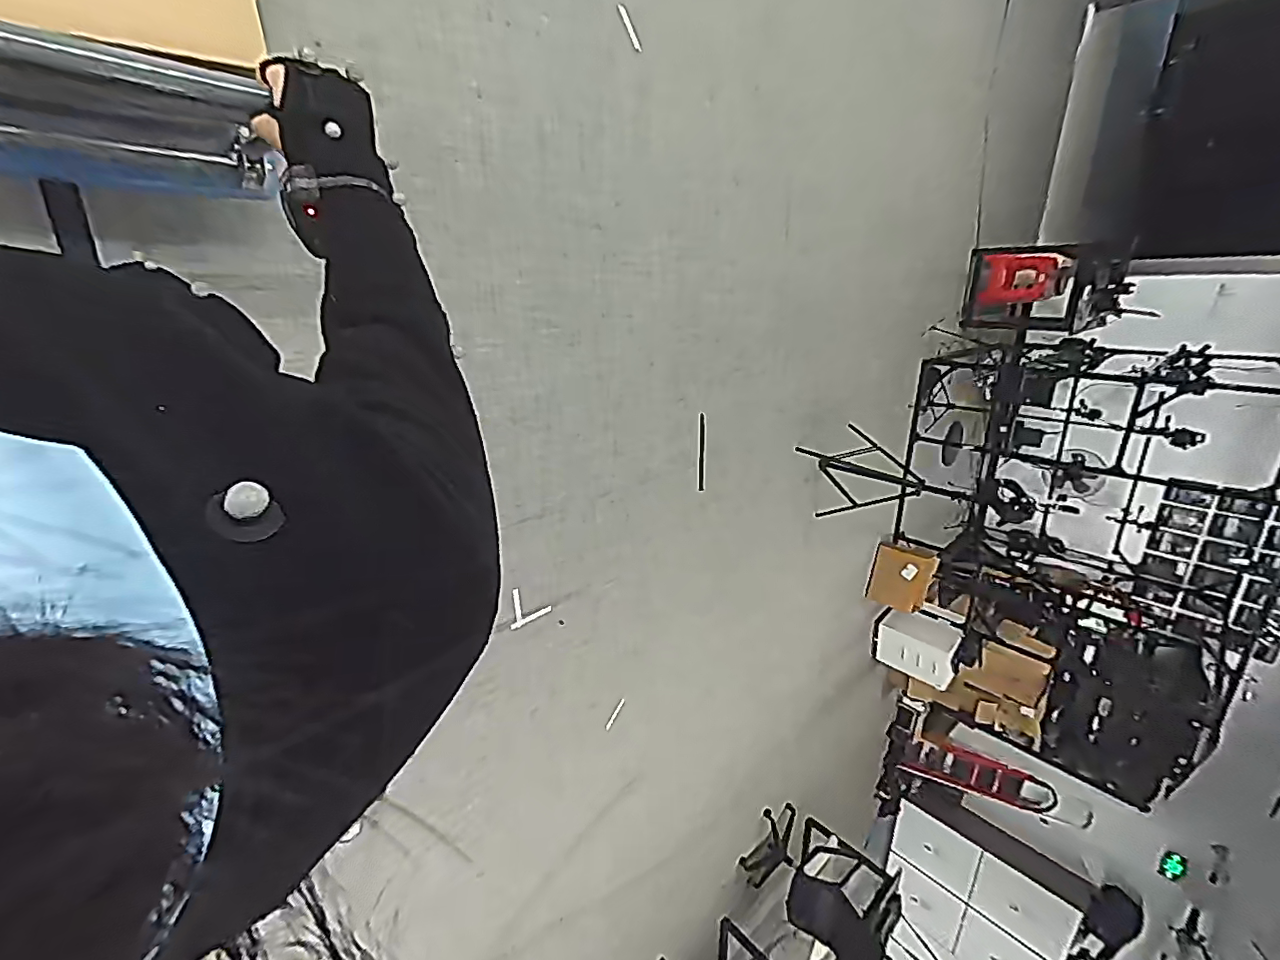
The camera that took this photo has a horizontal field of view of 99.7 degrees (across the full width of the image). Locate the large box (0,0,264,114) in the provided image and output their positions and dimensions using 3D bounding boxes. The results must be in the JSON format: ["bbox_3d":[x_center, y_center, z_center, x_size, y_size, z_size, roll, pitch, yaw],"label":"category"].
[{"bbox_3d":[-0.796,-0.714,0.701,0.408,0.320,0.320,-22,119,-41],"label":"large box"}]
